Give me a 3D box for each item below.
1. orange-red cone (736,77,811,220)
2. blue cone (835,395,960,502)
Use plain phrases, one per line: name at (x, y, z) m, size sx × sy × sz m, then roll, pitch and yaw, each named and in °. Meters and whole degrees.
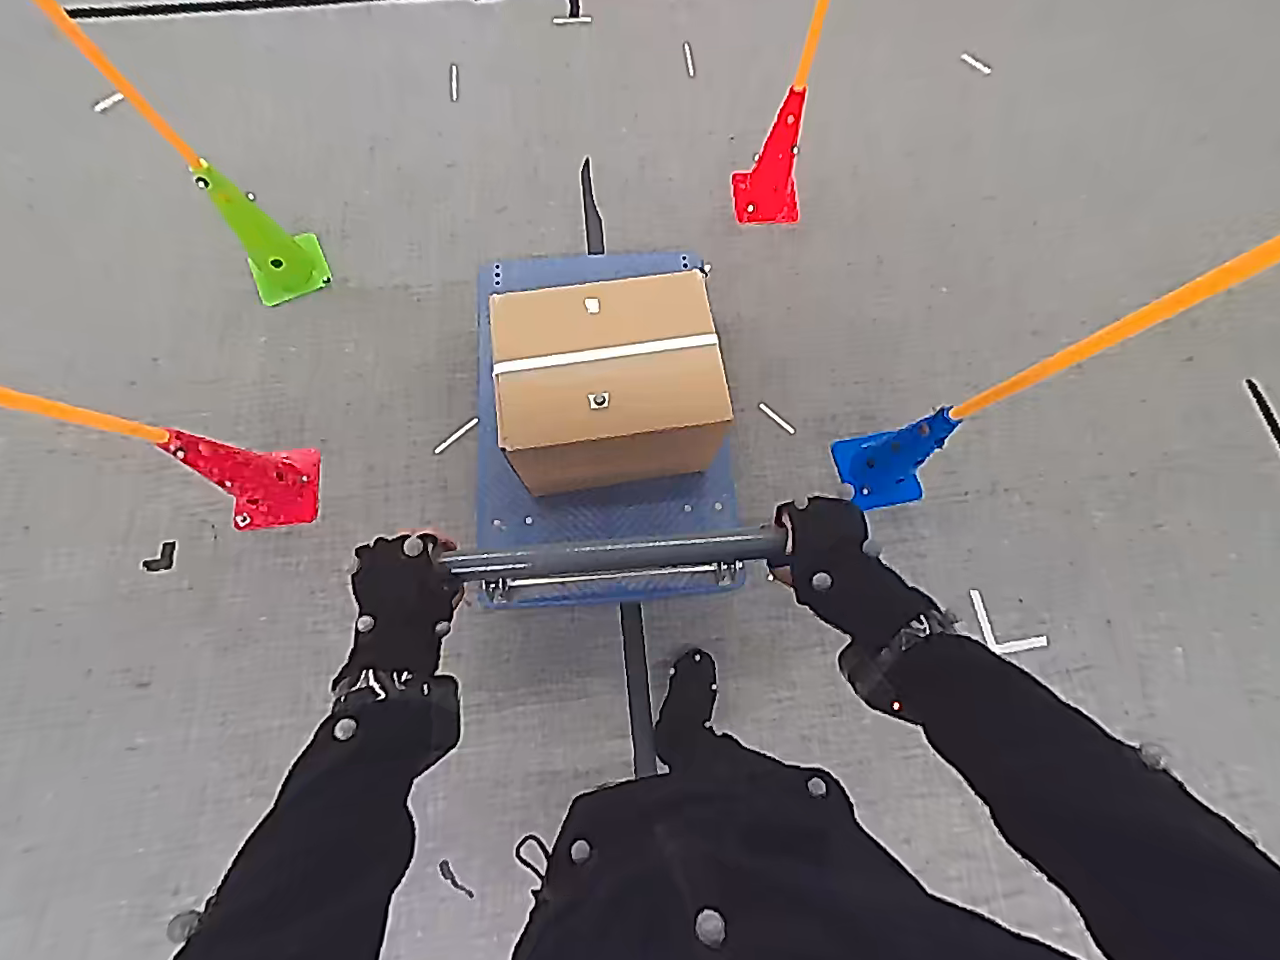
orange-red cone at (0.403, -0.939, 1.512) m, size 0.199 × 0.360 × 0.198 m, roll 1°, pitch 73°, yaw -3°
blue cone at (0.632, -0.090, 1.271) m, size 0.193 × 0.380 × 0.192 m, roll -10°, pitch 72°, yaw -5°
